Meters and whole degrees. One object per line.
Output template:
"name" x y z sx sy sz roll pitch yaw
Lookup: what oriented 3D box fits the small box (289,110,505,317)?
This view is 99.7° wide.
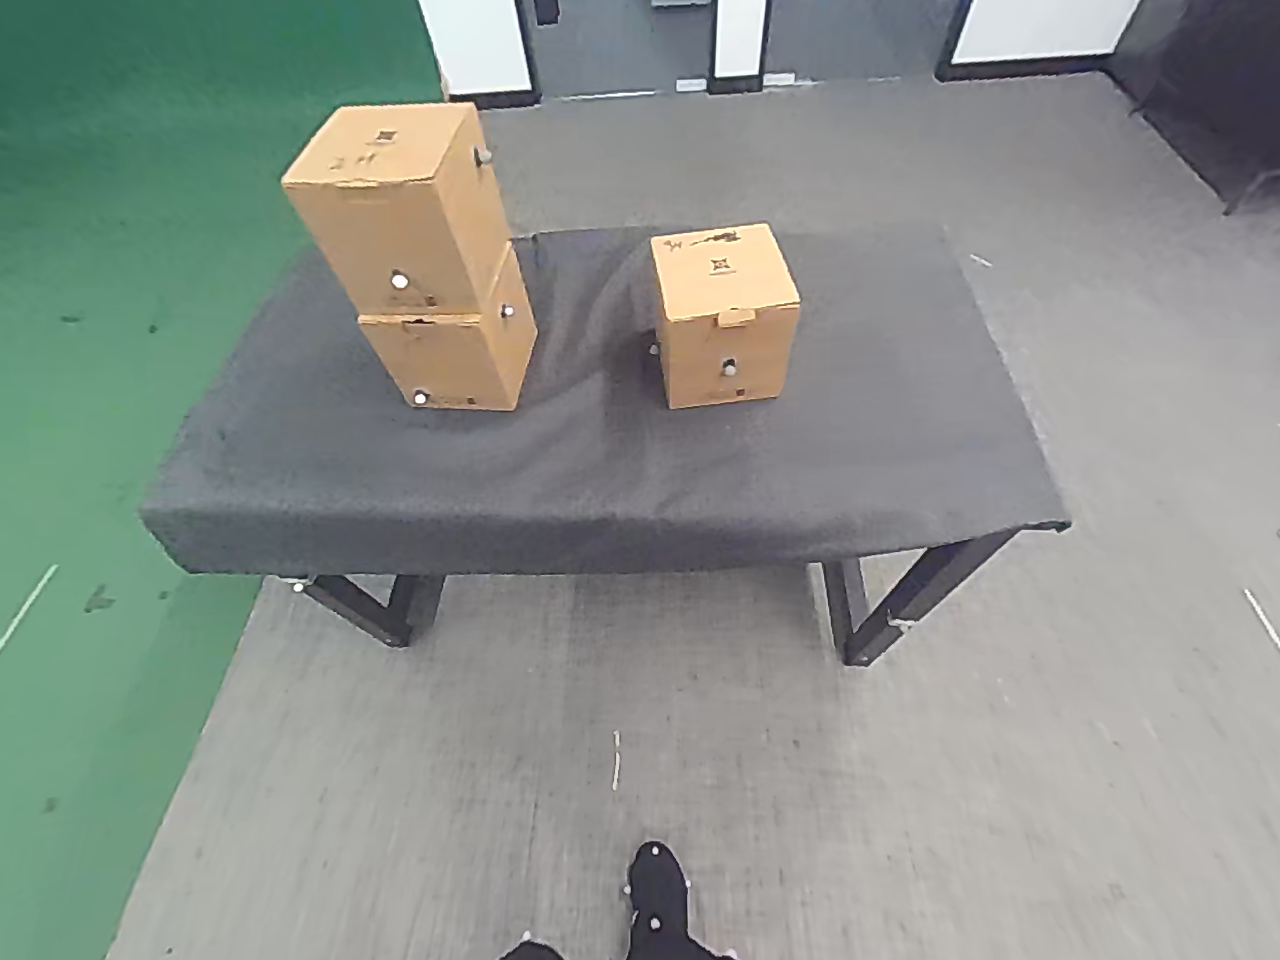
"small box" -0.277 -0.325 0.669 0.168 0.176 0.179 1 57 5

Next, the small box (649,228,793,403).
"small box" 0.106 -0.225 0.774 0.168 0.176 0.179 -7 57 0

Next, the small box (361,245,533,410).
"small box" -0.266 -0.221 0.797 0.168 0.176 0.179 3 56 6
